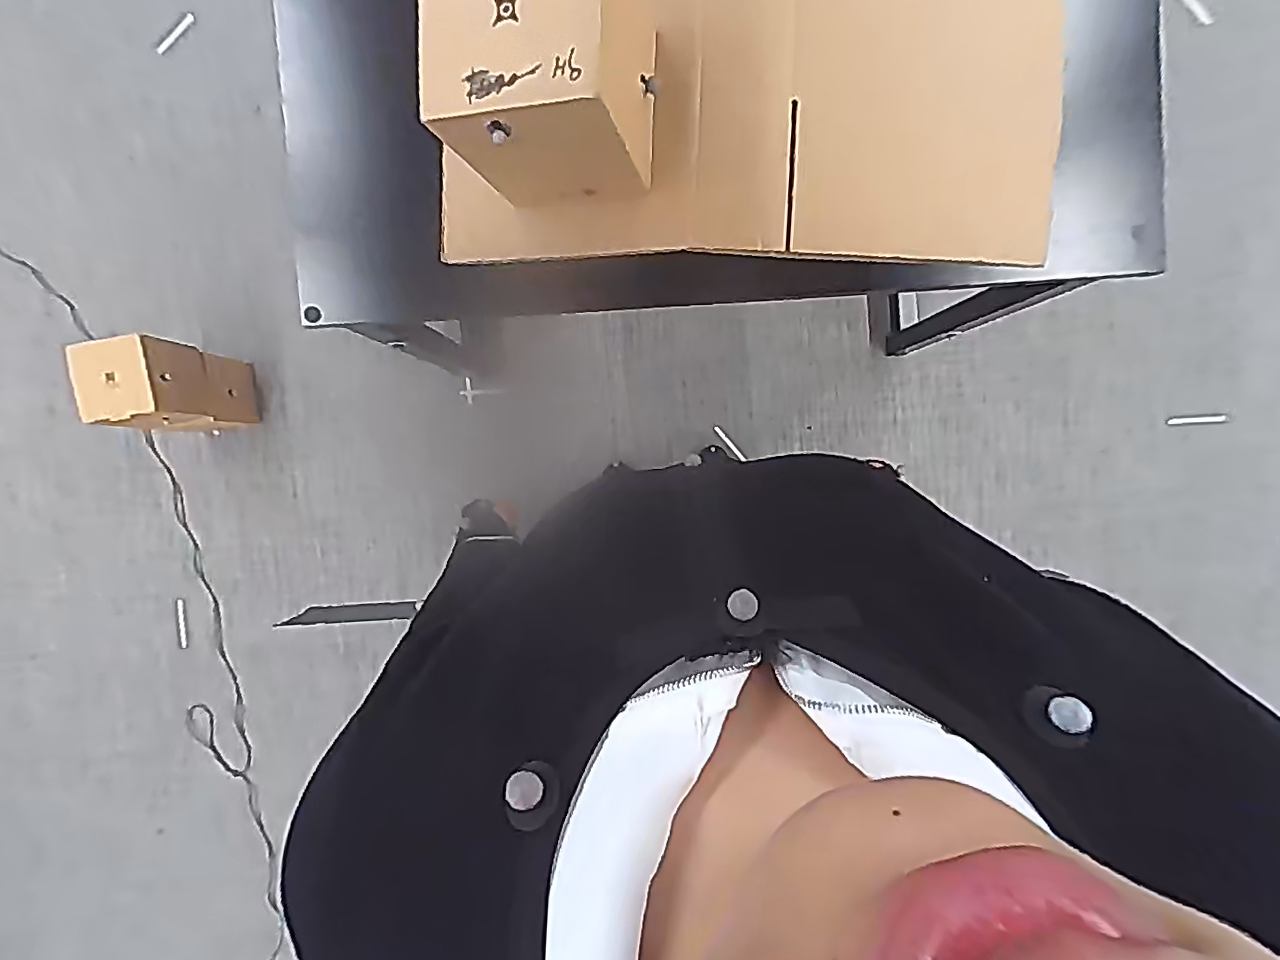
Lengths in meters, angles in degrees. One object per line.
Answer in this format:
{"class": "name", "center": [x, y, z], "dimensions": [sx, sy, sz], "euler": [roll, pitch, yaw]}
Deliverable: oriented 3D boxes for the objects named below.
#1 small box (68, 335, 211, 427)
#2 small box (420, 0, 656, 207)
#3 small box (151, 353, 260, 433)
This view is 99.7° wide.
{"class": "small box", "center": [-1.144, -0.220, 1.252], "dimensions": [0.168, 0.176, 0.179], "euler": [-10, 92, 0]}
{"class": "small box", "center": [-0.084, -0.391, 0.515], "dimensions": [0.168, 0.176, 0.179], "euler": [3, 92, 15]}
{"class": "small box", "center": [-1.141, -0.222, 1.415], "dimensions": [0.168, 0.176, 0.179], "euler": [-7, 93, 1]}
